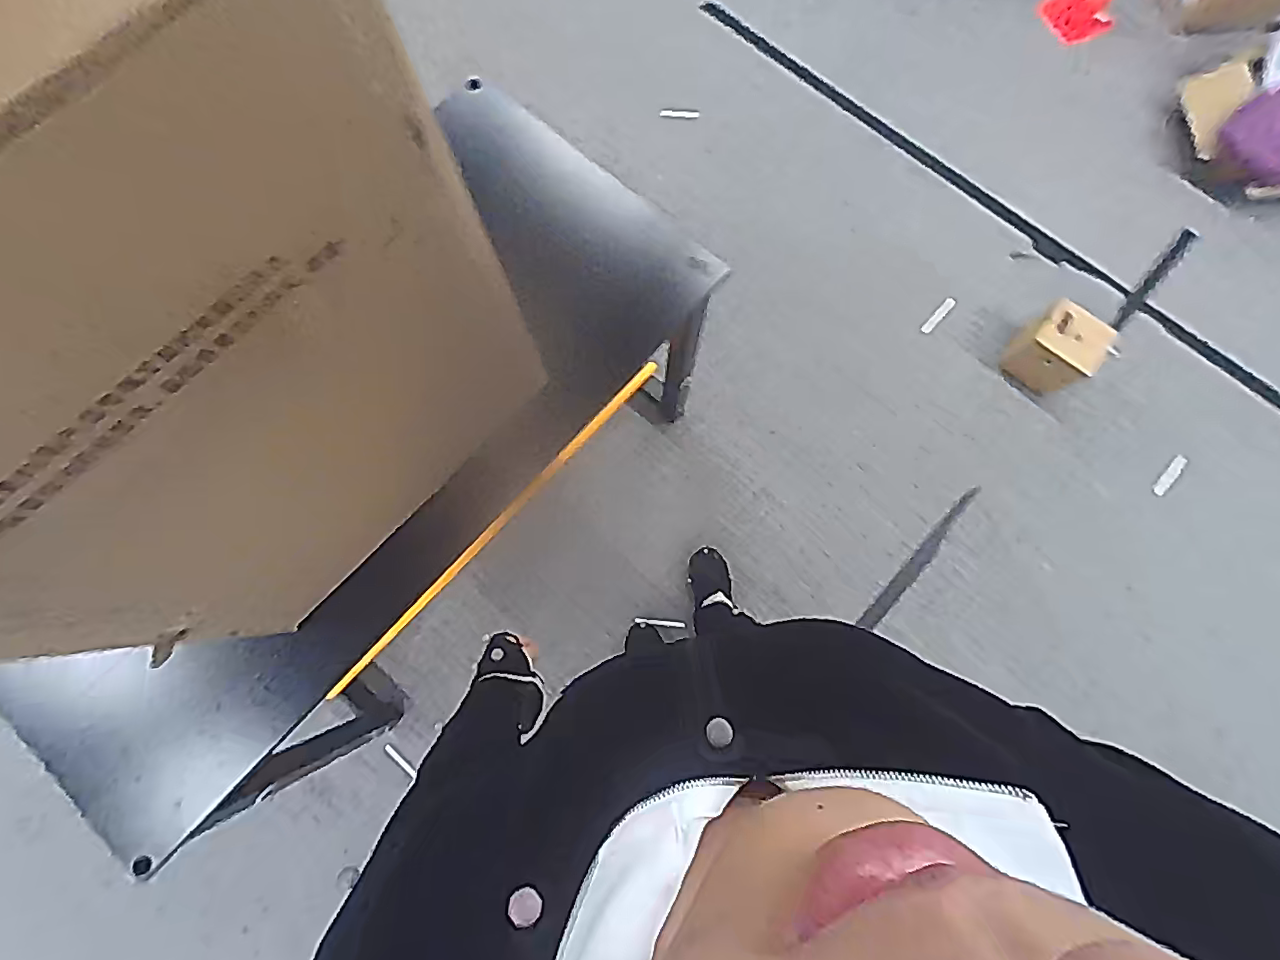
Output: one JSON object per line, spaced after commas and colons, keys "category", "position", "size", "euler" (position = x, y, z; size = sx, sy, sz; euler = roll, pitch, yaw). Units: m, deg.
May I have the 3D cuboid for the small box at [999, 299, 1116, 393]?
{"category": "small box", "position": [1.195, -0.379, 1.564], "size": [0.179, 0.176, 0.168], "euler": [38, 81, 6]}
